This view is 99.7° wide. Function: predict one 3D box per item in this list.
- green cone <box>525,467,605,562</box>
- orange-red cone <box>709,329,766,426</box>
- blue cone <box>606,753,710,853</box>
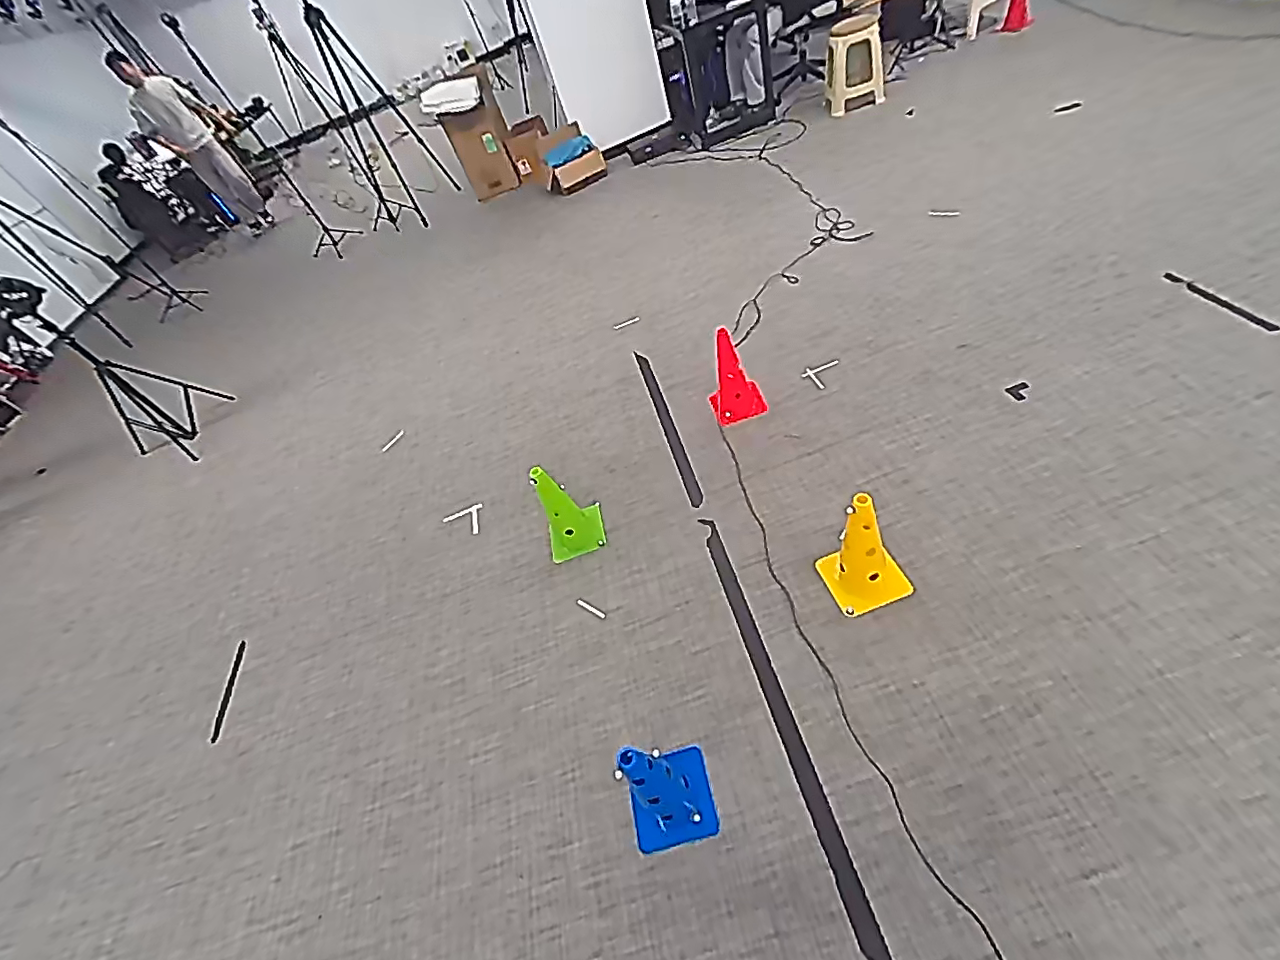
[{"bbox_3d":[-0.285,0.082,1.834,0.202,0.368,0.200,-22,45,5],"label":"green cone"},{"bbox_3d":[0.335,-0.410,2.024,0.199,0.360,0.198,-17,47,6],"label":"orange-red cone"},{"bbox_3d":[0.017,0.674,1.199,0.192,0.380,0.193,-19,45,7],"label":"blue cone"}]
